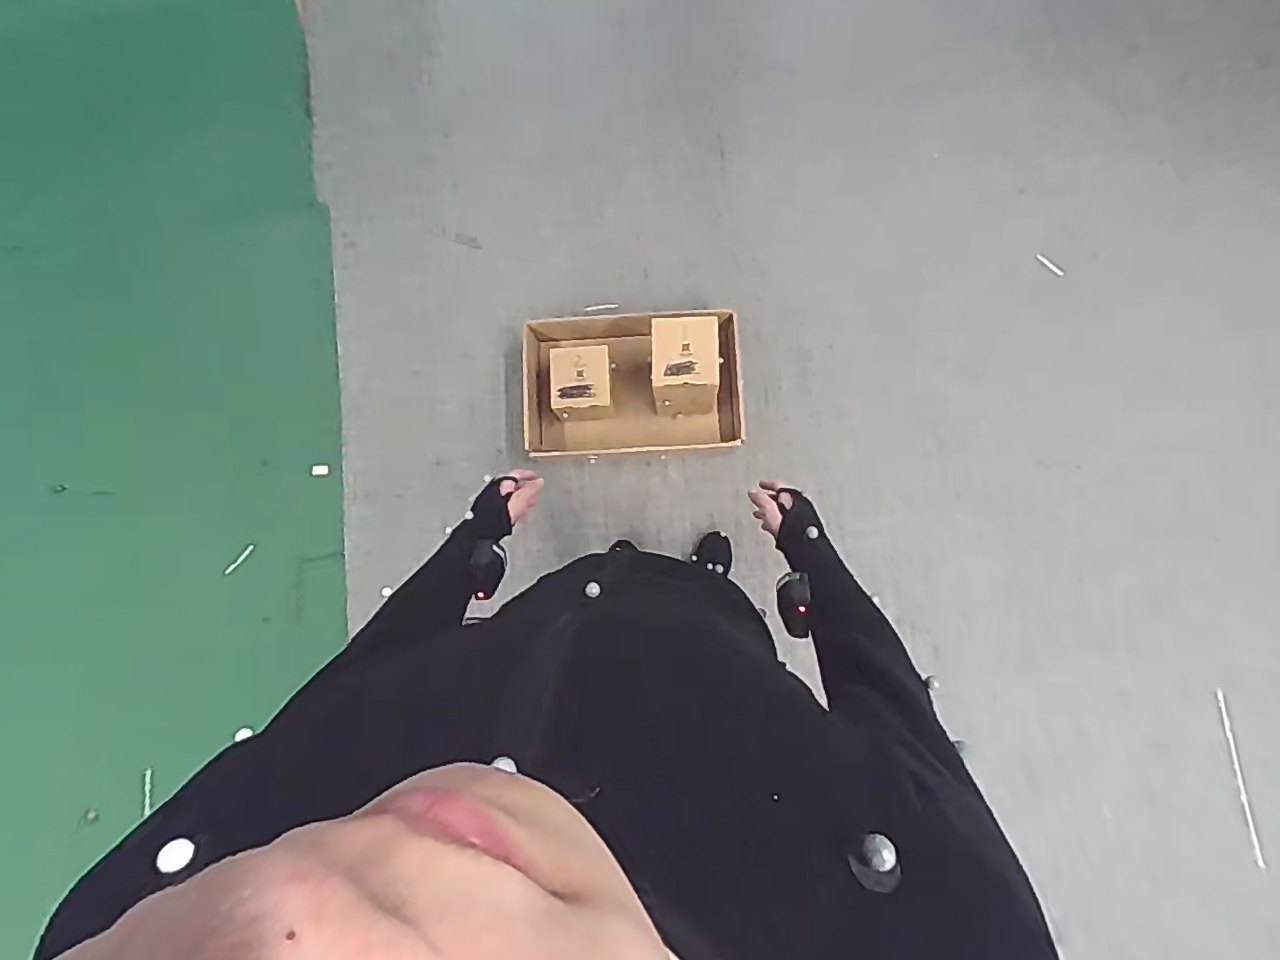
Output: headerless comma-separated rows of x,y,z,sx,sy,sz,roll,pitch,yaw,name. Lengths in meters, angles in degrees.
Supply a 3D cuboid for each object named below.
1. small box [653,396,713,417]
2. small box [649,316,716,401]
0.119,-0.288,1.558,0.168,0.176,0.179,-3,84,3,small box
0.110,-0.306,1.395,0.168,0.176,0.179,-1,82,3,small box
